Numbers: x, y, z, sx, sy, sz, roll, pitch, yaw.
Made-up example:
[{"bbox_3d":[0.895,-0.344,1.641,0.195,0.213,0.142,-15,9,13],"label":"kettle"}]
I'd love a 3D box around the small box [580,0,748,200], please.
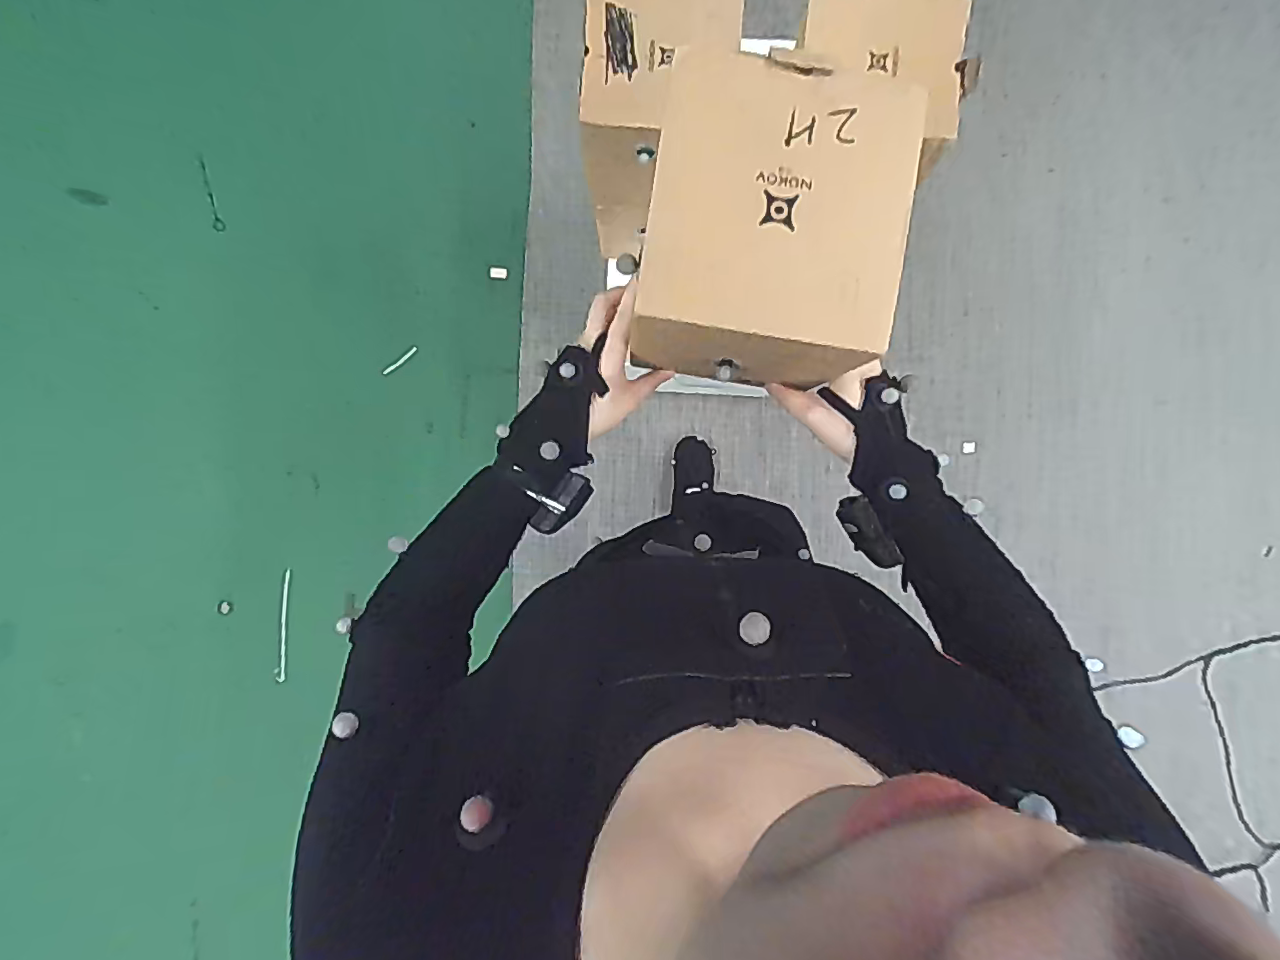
[{"bbox_3d":[0.028,-0.464,0.665,0.179,0.176,0.168,3,90,0],"label":"small box"}]

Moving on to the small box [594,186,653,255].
[{"bbox_3d":[0.031,-0.457,0.830,0.179,0.176,0.168,4,90,1],"label":"small box"}]

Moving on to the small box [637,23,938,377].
[{"bbox_3d":[0.091,-0.186,0.417,0.168,0.176,0.179,9,90,-2],"label":"small box"}]
